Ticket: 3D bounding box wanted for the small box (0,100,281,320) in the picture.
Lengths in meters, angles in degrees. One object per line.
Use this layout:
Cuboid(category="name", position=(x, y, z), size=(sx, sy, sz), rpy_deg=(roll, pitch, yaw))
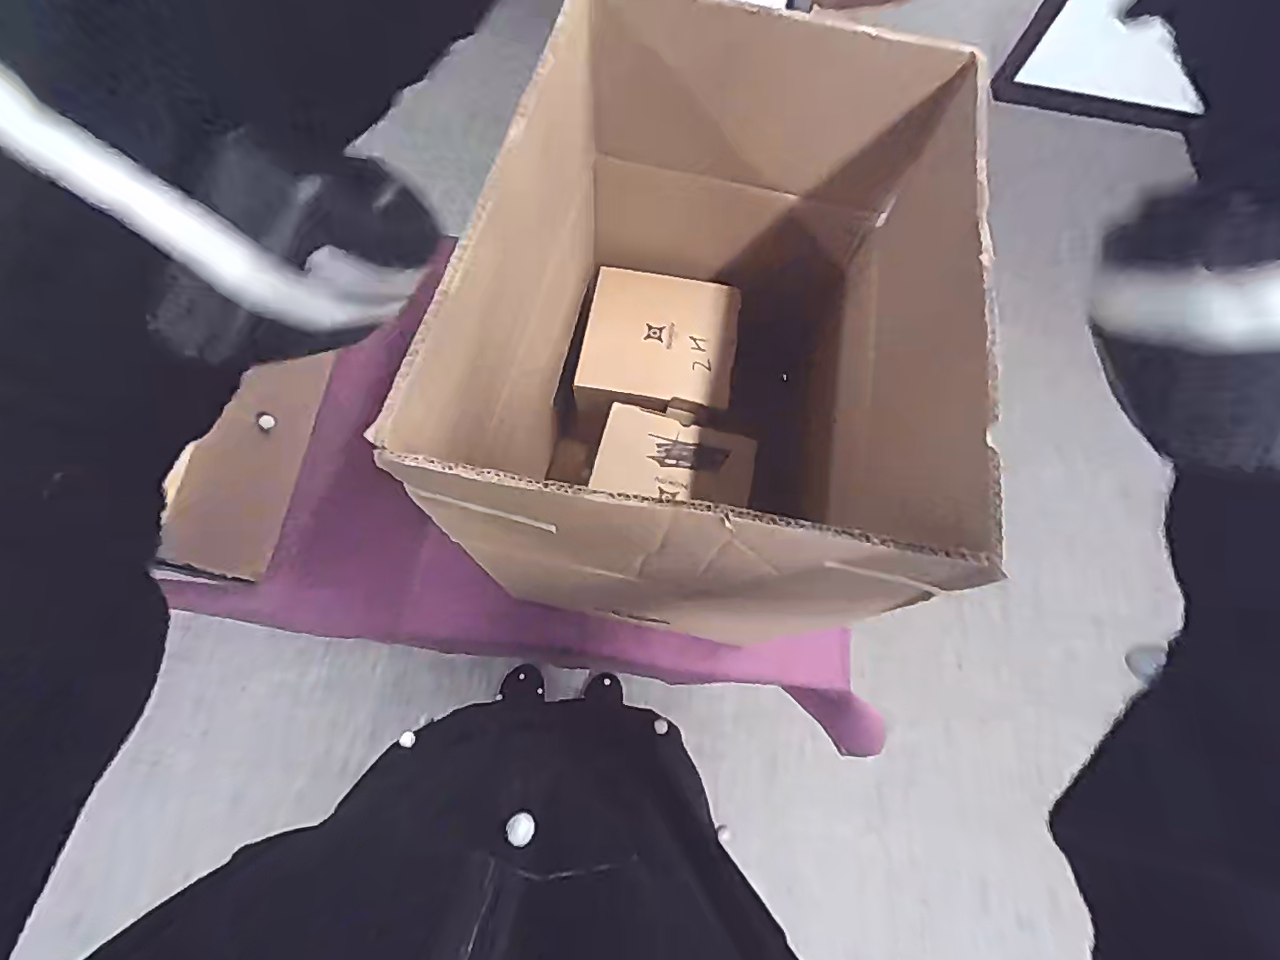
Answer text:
Cuboid(category="small box", position=(-0.599, -0.328, 0.682), size=(0.168, 0.176, 0.179), rpy_deg=(8, 70, 0))
